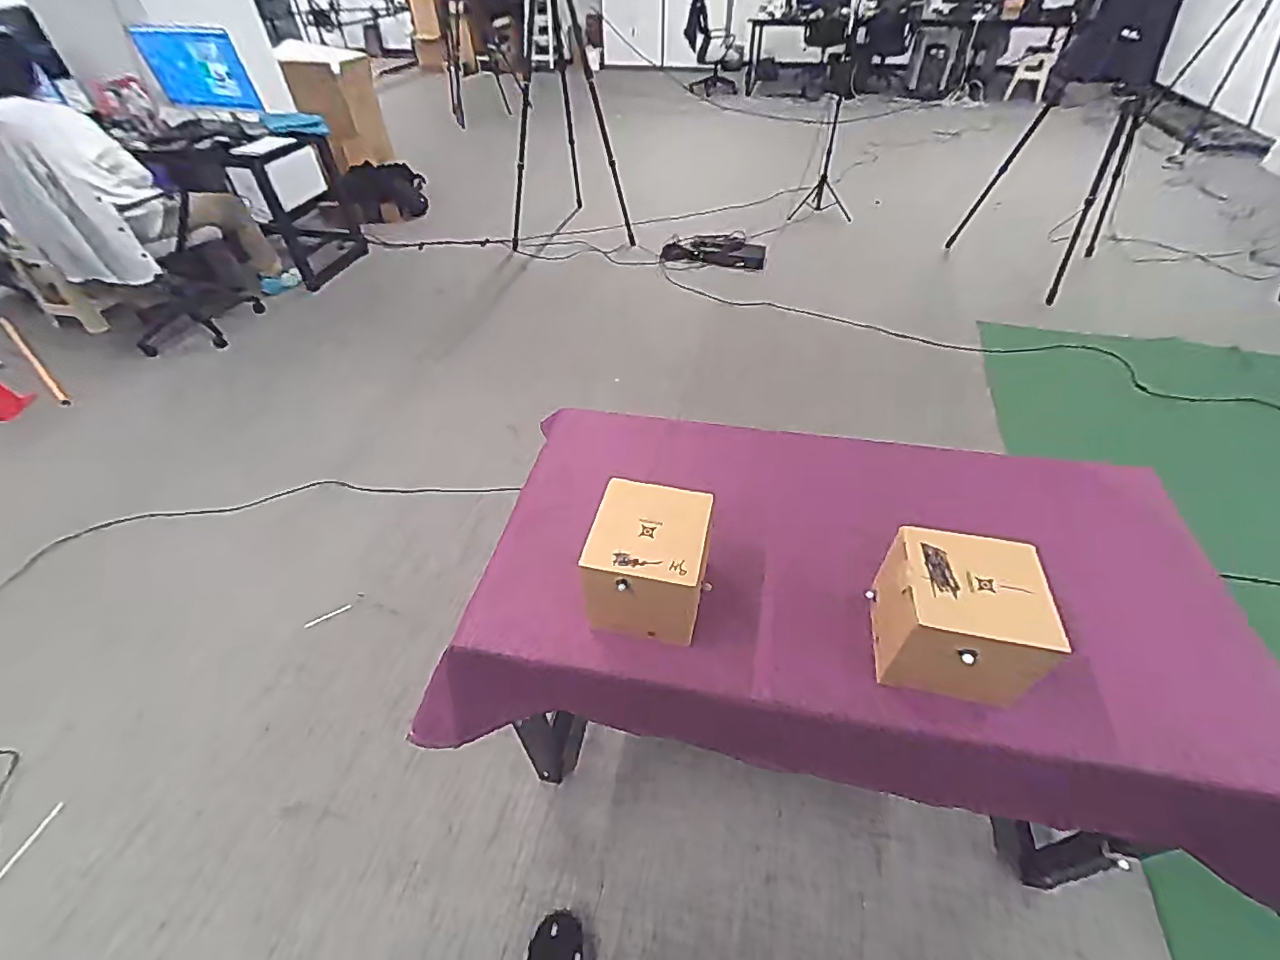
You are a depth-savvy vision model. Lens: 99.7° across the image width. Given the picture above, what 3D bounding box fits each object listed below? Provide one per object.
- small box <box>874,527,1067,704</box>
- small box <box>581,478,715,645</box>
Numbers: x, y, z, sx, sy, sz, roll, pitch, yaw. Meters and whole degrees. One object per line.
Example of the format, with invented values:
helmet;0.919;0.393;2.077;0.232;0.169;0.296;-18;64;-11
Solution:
small box;0.441;0.192;0.761;0.179;0.176;0.168;9;47;10
small box;0.017;0.125;0.839;0.168;0.176;0.179;9;46;11
